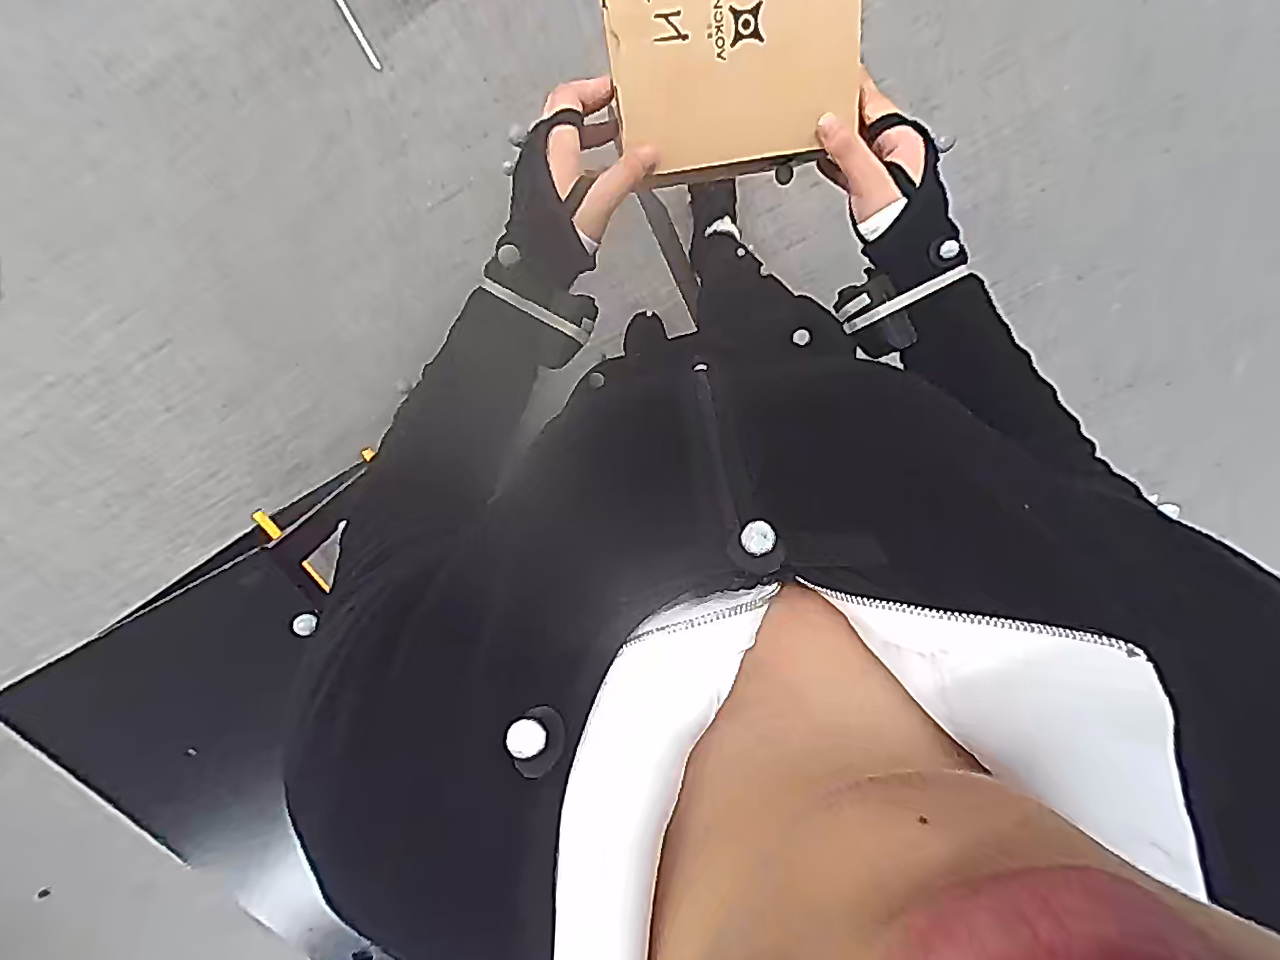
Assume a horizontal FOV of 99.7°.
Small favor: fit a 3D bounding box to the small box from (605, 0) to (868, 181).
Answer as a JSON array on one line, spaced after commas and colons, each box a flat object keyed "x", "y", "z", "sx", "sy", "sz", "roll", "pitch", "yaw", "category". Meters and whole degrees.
[{"x": 0.065, "y": -0.348, "z": 0.434, "sx": 0.179, "sy": 0.176, "sz": 0.168, "roll": -7, "pitch": 115, "yaw": 3, "category": "small box"}]
